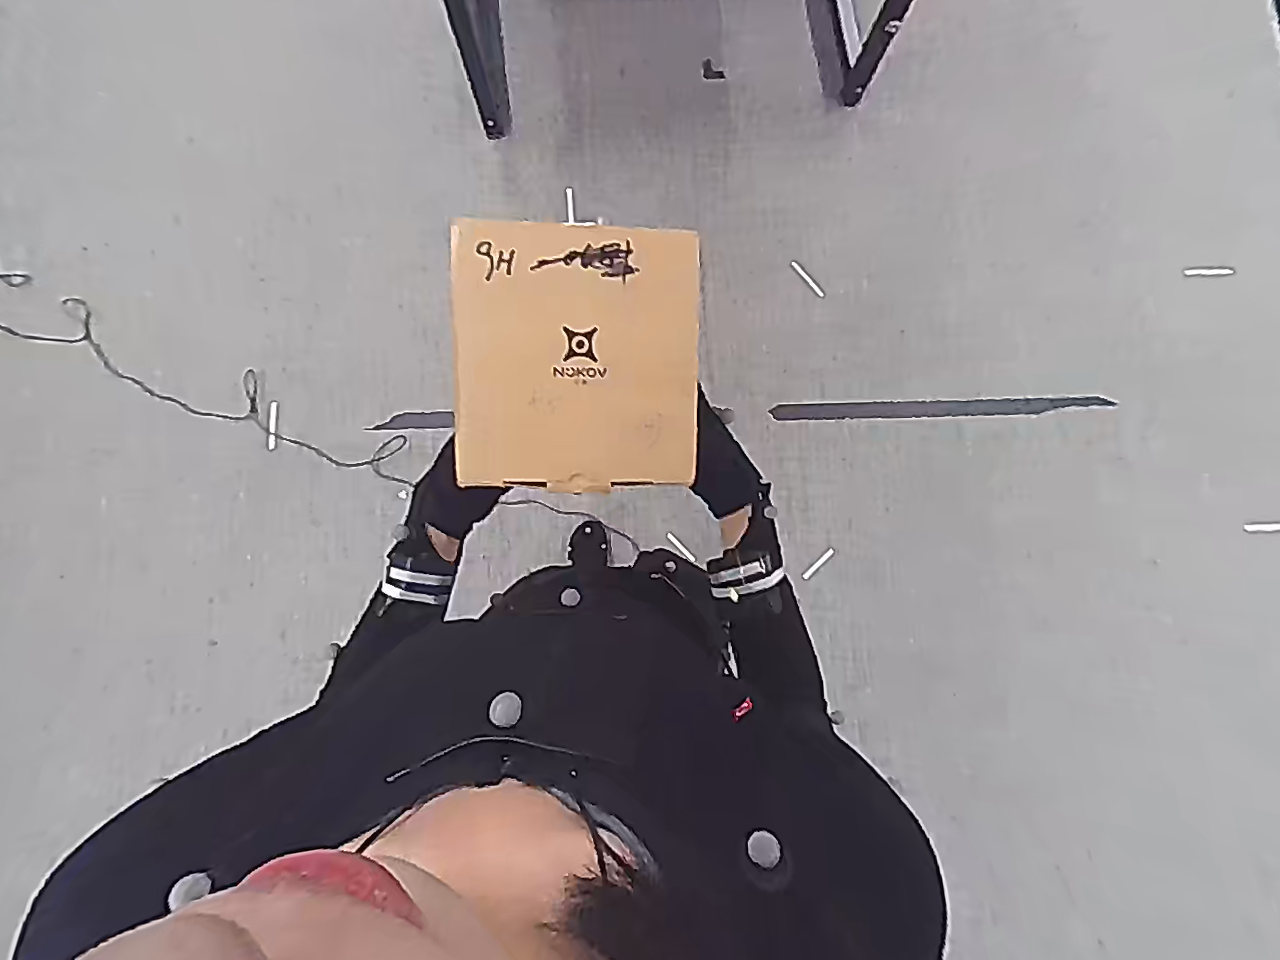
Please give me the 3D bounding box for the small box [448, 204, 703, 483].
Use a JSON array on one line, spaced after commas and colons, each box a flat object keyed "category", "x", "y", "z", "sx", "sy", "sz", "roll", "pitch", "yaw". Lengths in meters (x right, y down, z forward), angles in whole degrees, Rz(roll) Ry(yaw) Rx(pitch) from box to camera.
[{"category": "small box", "x": -0.051, "y": -0.095, "z": 0.435, "sx": 0.168, "sy": 0.176, "sz": 0.179, "roll": 0, "pitch": 96, "yaw": -7}]
